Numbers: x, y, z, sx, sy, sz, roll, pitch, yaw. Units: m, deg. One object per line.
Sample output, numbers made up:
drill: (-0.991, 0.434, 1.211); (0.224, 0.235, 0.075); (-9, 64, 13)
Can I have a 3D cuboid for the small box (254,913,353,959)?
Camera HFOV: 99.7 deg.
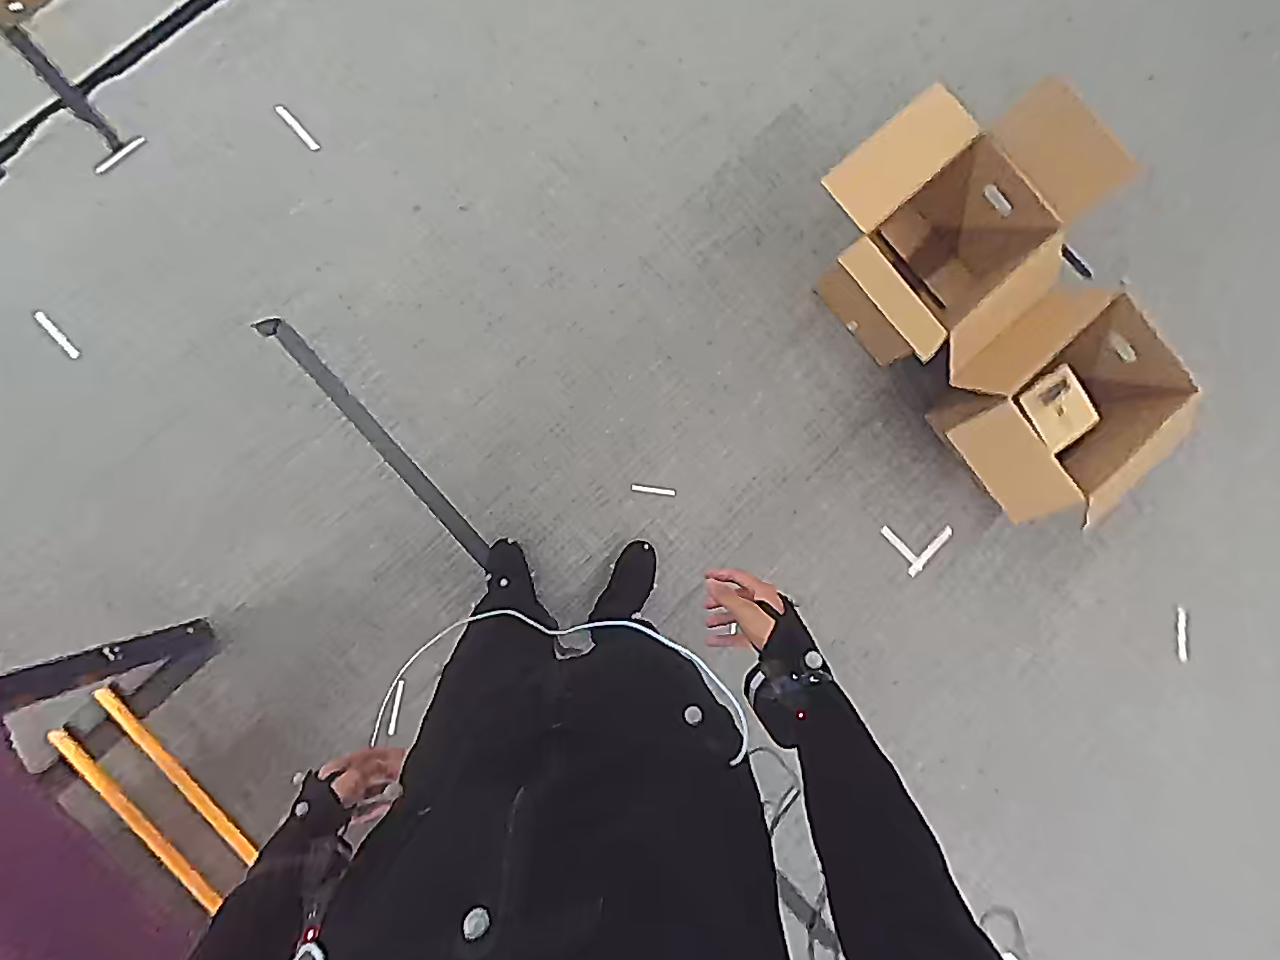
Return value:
small box: (-0.747, 1.079, 1.135); (0.179, 0.176, 0.168); (45, 85, 1)
